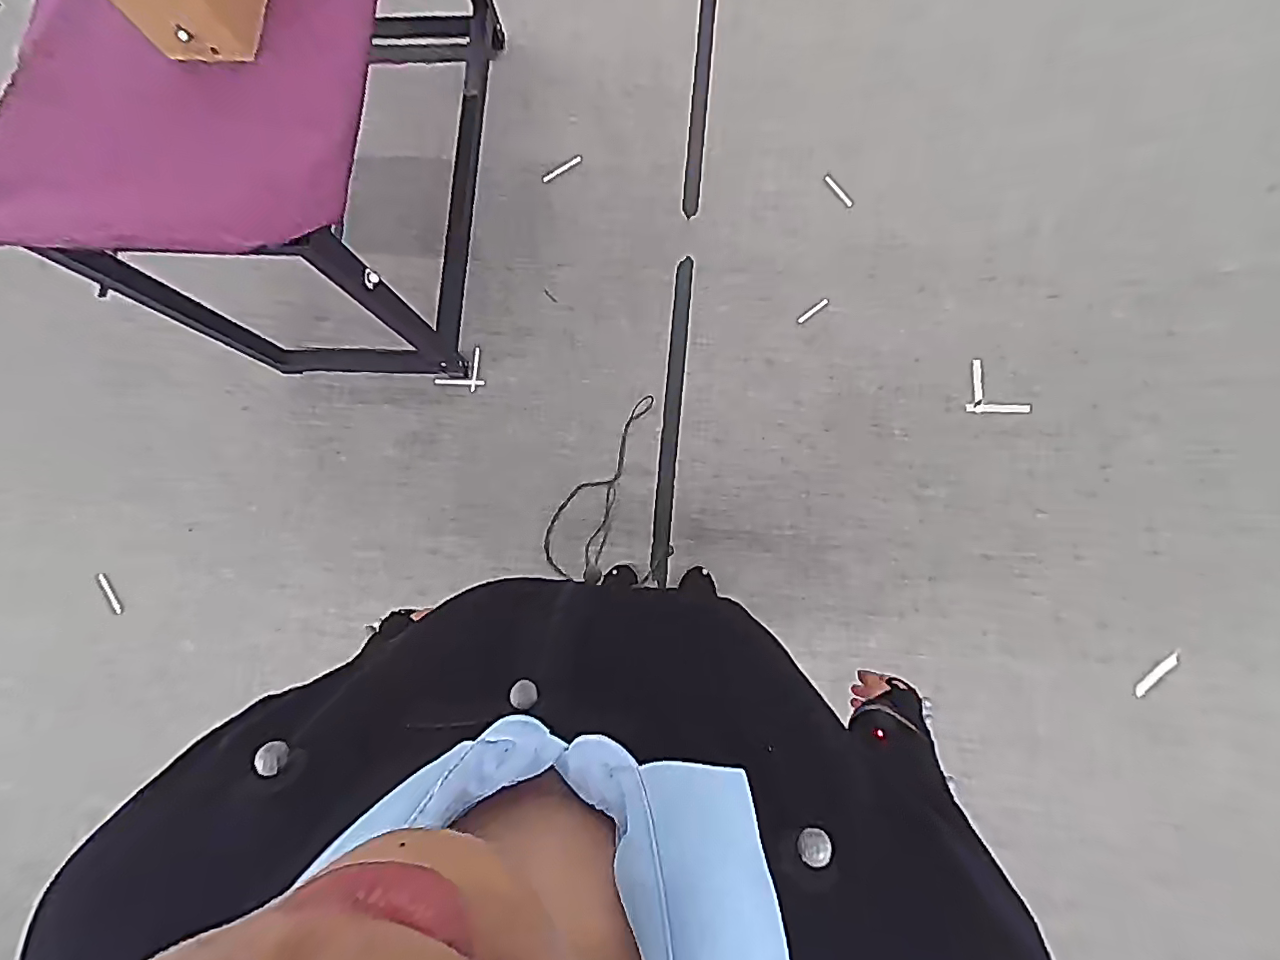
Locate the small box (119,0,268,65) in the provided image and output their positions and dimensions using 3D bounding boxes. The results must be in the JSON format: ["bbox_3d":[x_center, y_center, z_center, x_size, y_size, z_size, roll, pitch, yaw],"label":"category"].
[{"bbox_3d":[-0.759,-0.842,0.897,0.168,0.176,0.179,4,82,5],"label":"small box"}]
